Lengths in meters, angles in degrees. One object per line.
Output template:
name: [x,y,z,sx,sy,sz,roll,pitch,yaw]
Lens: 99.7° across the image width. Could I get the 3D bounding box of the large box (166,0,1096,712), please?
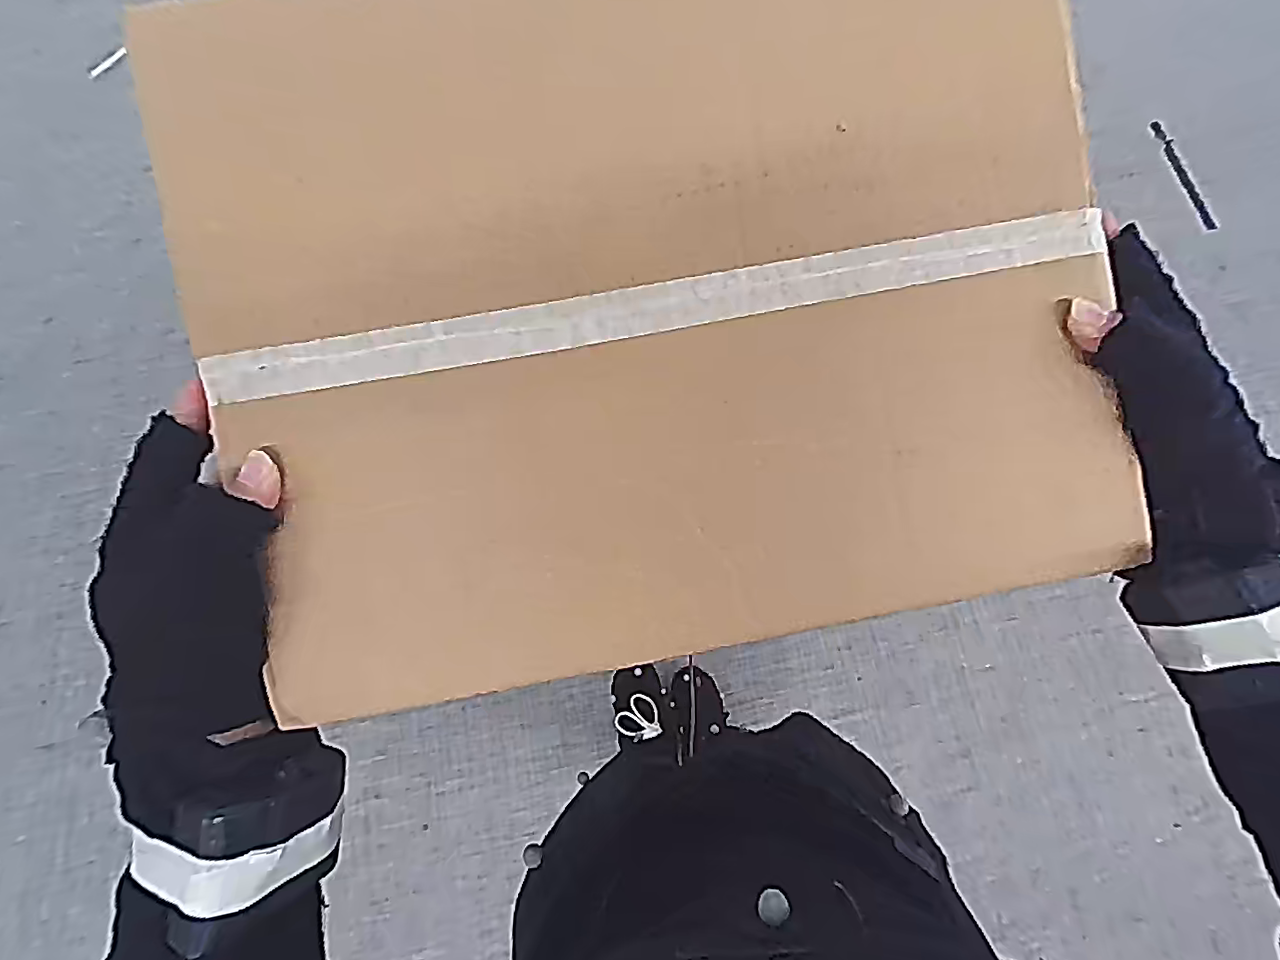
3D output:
large box: [0.003,-0.083,0.404,0.408,0.320,0.320,-10,91,-3]
